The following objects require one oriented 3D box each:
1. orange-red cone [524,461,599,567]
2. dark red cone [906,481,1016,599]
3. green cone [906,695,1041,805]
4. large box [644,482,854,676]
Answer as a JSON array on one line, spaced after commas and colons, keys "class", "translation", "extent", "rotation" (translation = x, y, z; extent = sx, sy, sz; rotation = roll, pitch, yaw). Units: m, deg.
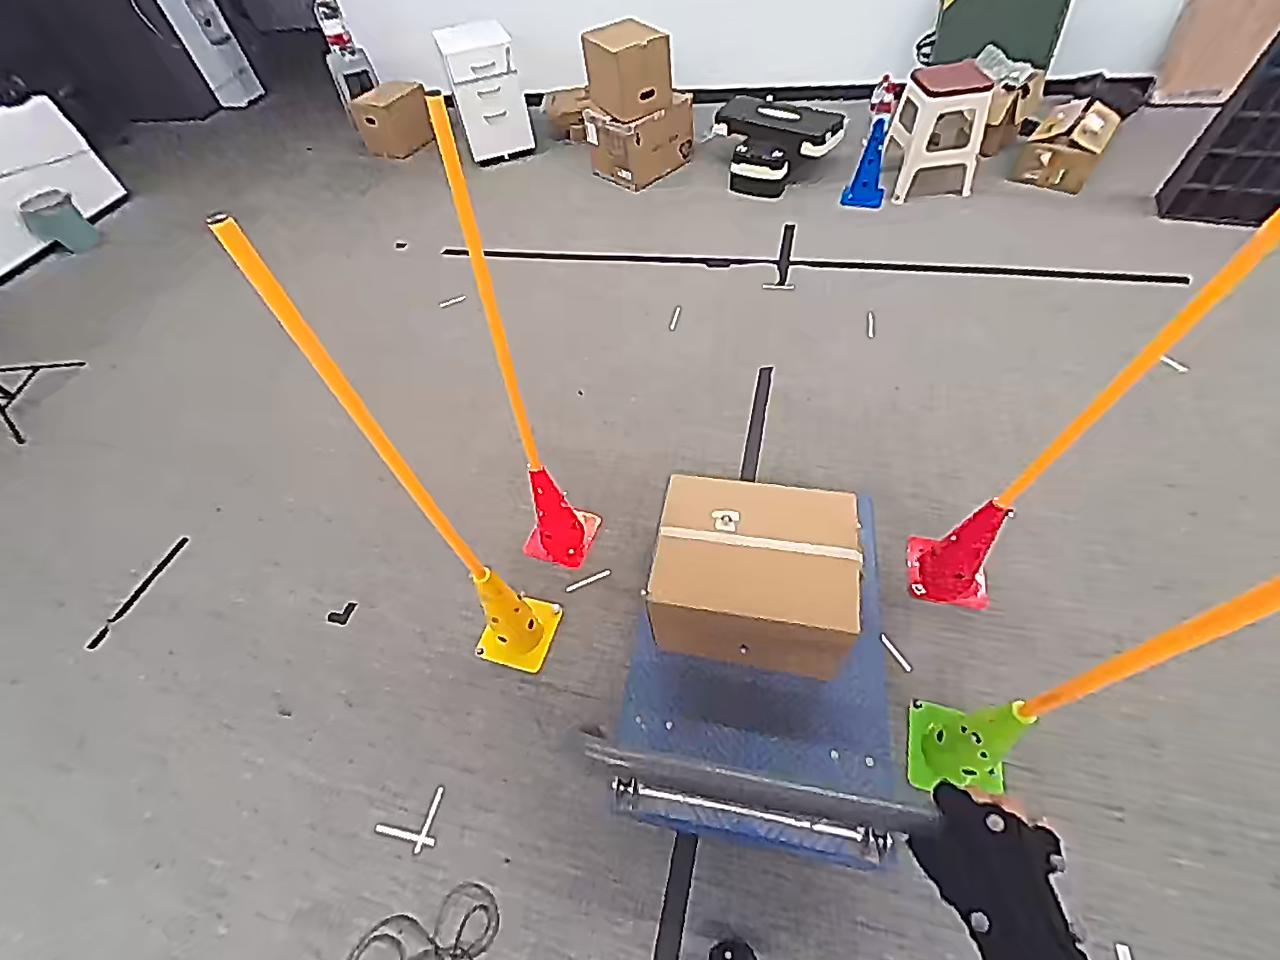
[{"class": "orange-red cone", "translation": [-0.264, 0.068, 1.594], "extent": [0.198, 0.360, 0.199], "rotation": [15, 55, 16]}, {"class": "dark red cone", "translation": [0.850, 0.134, 1.389], "extent": [0.201, 0.394, 0.202], "rotation": [9, 55, 11]}, {"class": "green cone", "translation": [0.720, 0.526, 1.132], "extent": [0.202, 0.368, 0.200], "rotation": [12, 55, 13]}, {"class": "large box", "translation": [0.247, 0.228, 1.233], "extent": [0.408, 0.320, 0.320], "rotation": [6, 55, 12]}]
